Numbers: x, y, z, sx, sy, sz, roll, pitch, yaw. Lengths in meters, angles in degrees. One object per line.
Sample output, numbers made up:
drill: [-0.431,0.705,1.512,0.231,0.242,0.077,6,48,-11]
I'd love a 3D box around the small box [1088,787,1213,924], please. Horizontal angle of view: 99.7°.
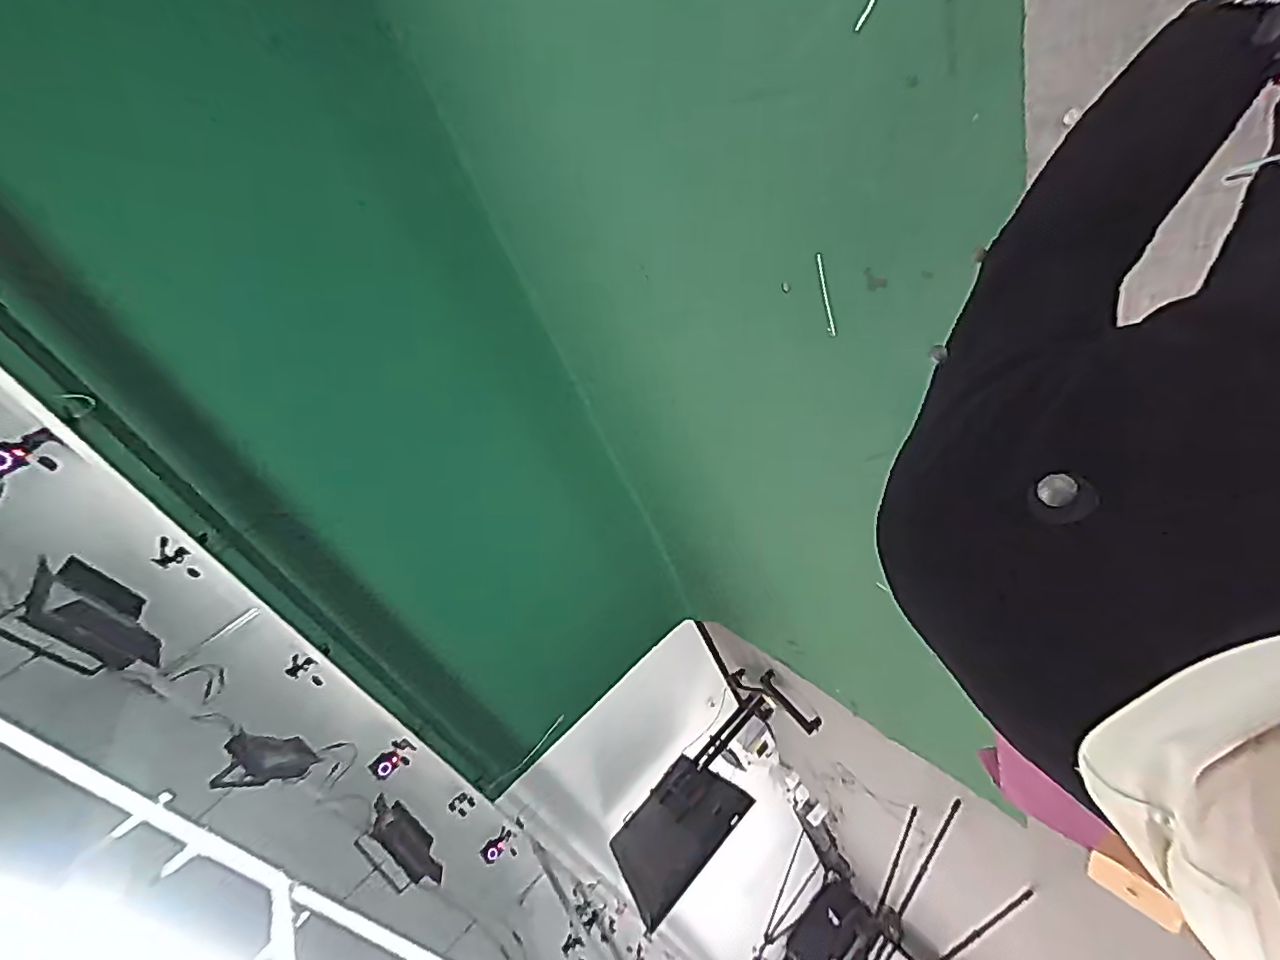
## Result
small box: [1.185,0.868,1.259,0.168,0.176,0.179,24,146,50]
